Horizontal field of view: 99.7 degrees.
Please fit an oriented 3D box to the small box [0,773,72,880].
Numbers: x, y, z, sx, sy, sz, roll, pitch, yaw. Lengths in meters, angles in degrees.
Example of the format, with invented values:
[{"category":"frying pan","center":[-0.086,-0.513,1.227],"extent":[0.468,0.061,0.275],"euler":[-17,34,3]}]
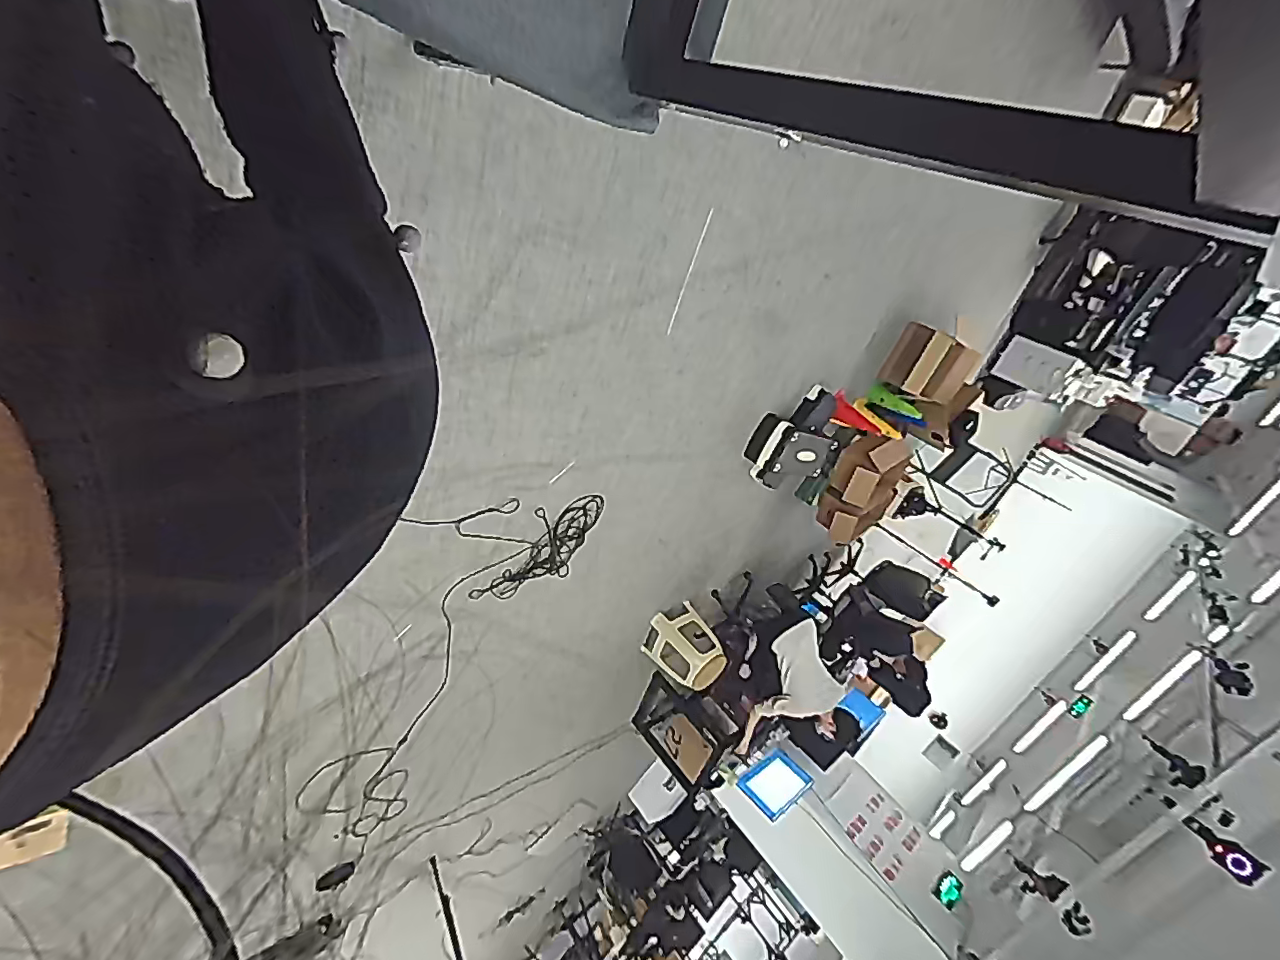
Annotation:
[{"category":"small box","center":[-1.648,0.920,1.444],"extent":[0.168,0.176,0.179],"euler":[3,120,-48]}]
